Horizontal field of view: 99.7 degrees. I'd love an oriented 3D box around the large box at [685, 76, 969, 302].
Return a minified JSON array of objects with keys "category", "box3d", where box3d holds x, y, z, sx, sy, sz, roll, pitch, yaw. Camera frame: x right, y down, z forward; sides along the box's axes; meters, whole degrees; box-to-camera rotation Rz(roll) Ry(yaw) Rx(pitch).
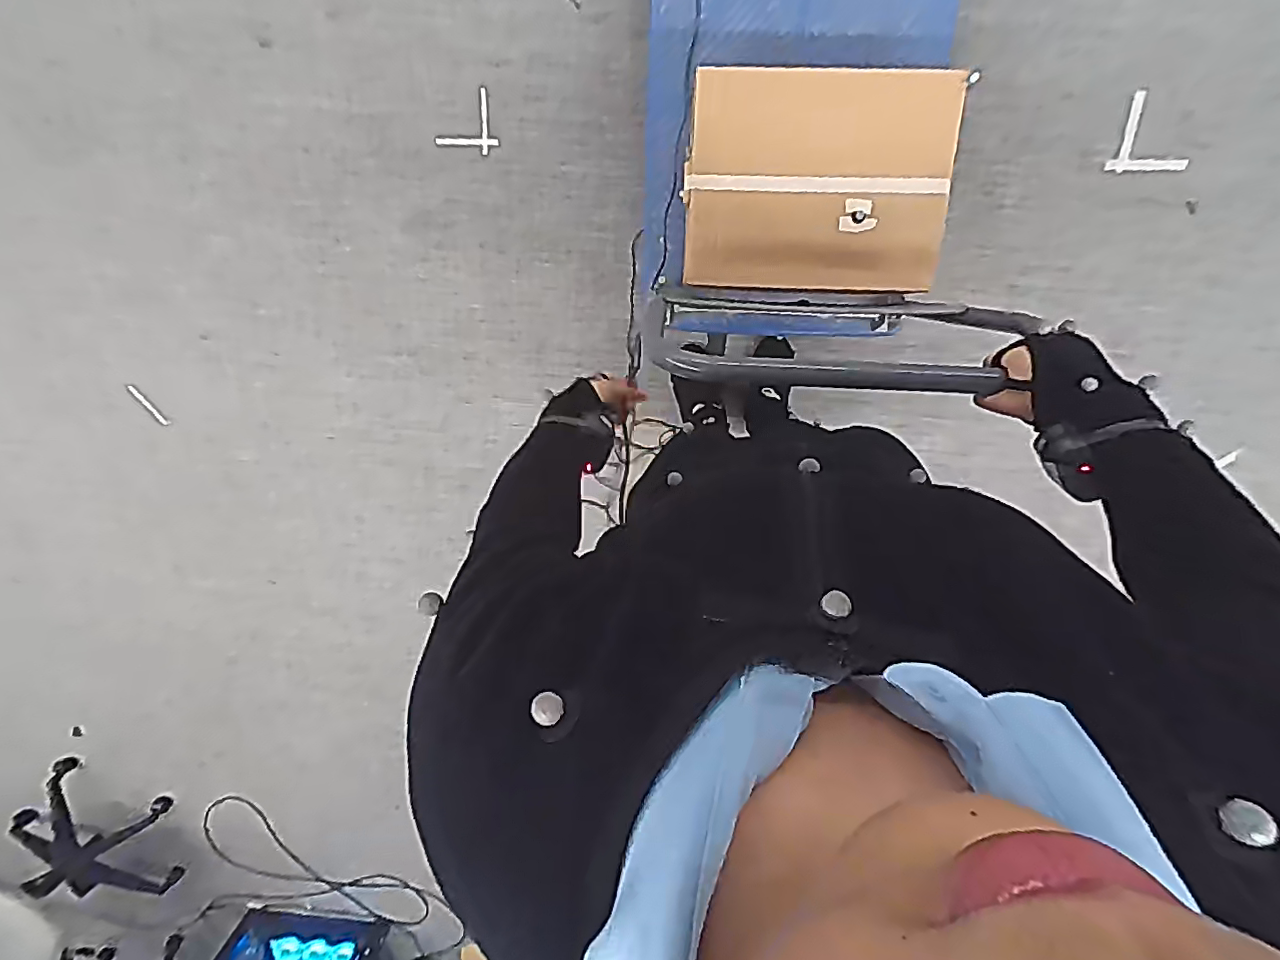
[{"category":"large box","box3d":[0.290,-0.491,0.985,0.408,0.320,0.320,2,108,2]}]
